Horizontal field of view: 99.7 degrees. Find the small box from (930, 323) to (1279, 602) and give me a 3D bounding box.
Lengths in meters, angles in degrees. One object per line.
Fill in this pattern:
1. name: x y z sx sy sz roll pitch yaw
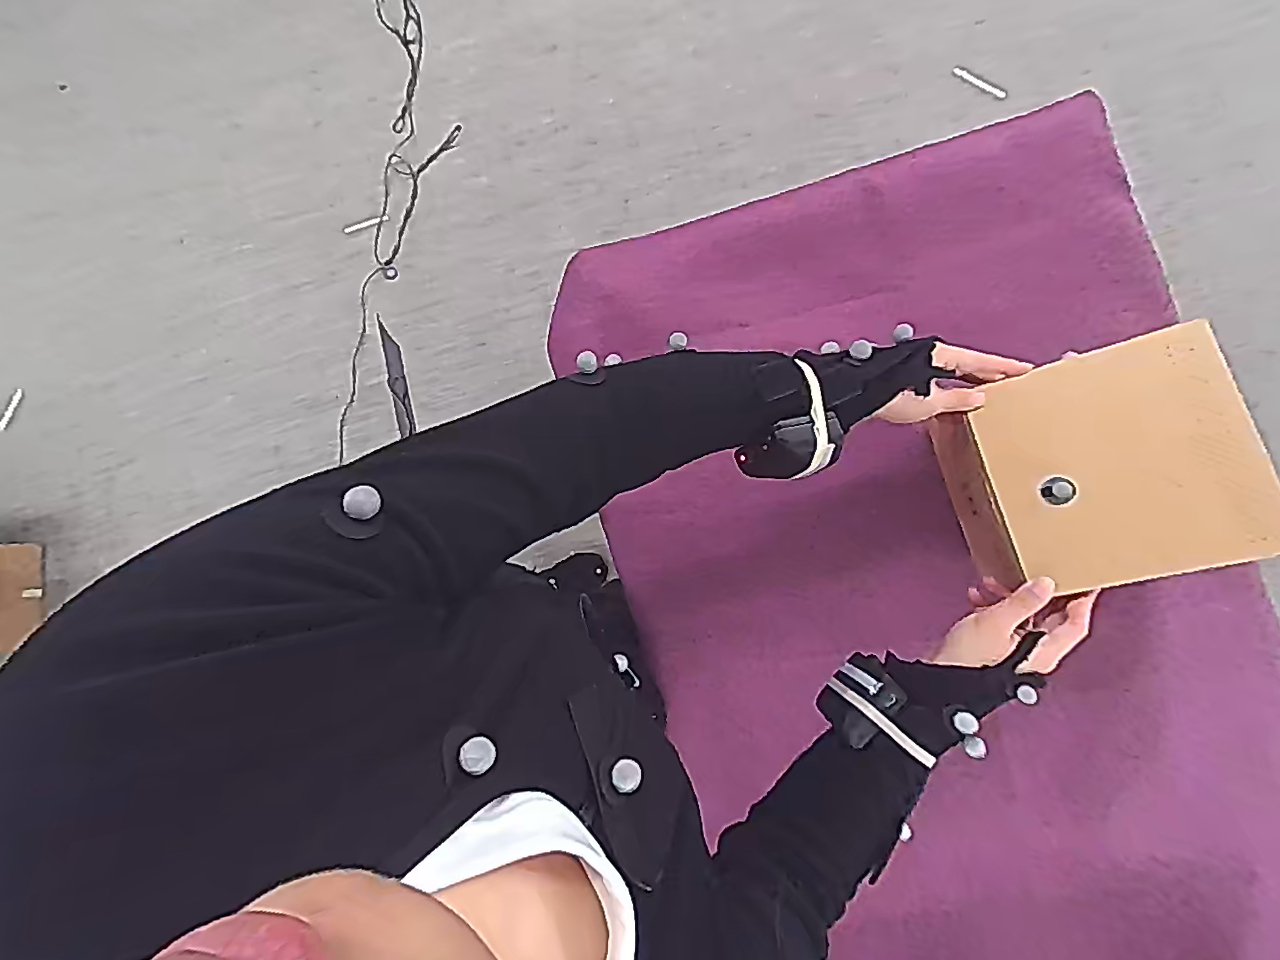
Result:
1. small box: 0.382 -0.007 0.473 0.176 0.168 0.179 -17 80 18
